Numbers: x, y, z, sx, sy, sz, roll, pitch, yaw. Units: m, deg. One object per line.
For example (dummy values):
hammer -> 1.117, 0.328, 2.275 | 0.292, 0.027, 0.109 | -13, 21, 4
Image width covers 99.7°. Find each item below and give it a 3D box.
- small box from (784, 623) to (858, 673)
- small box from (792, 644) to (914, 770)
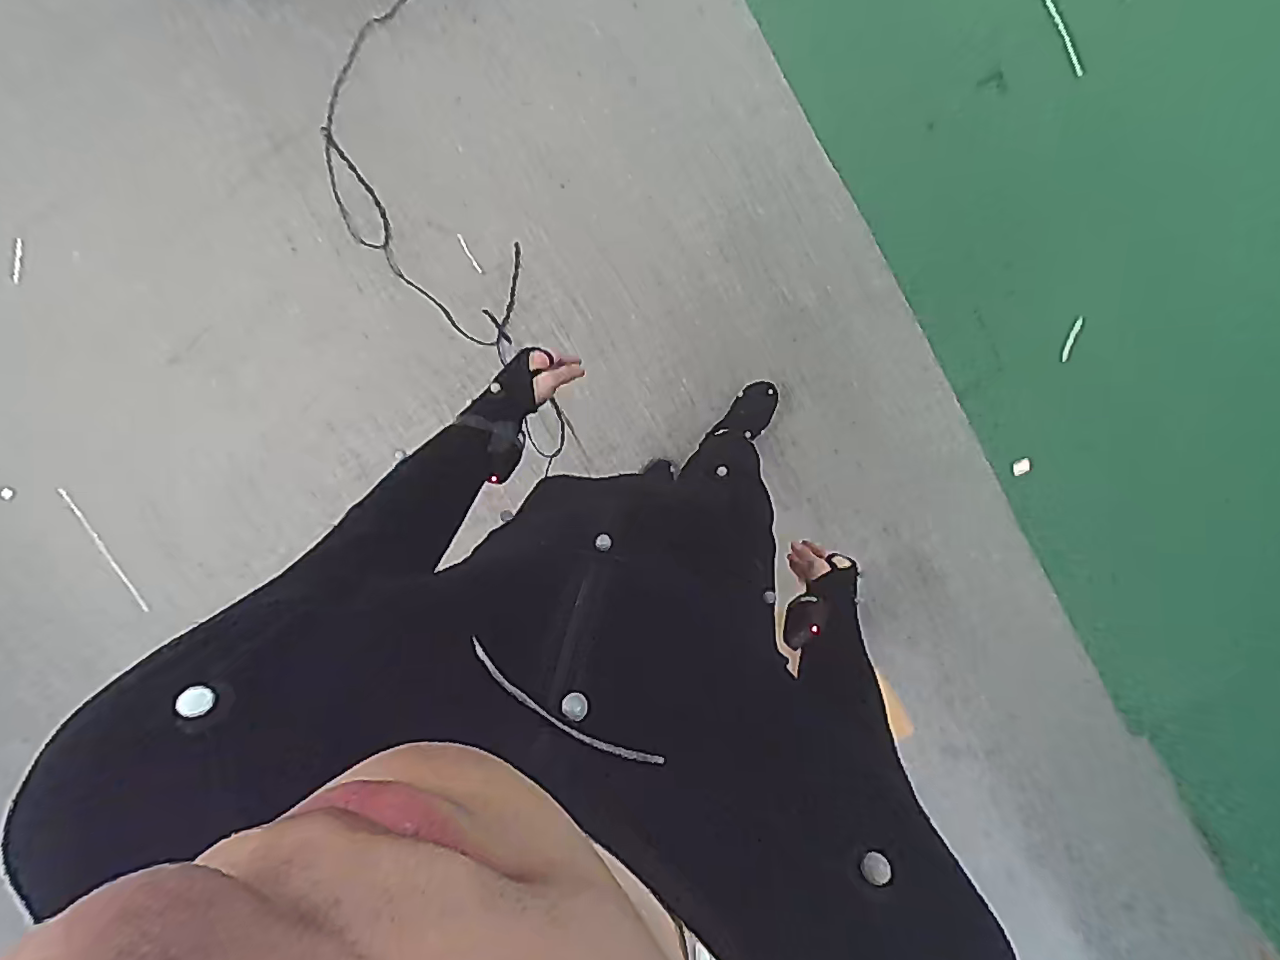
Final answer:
small box -> 0.493, 0.491, 1.390 | 0.168, 0.176, 0.179 | -32, 95, 6
small box -> 0.473, 0.503, 1.226 | 0.179, 0.176, 0.168 | -31, 94, 6
